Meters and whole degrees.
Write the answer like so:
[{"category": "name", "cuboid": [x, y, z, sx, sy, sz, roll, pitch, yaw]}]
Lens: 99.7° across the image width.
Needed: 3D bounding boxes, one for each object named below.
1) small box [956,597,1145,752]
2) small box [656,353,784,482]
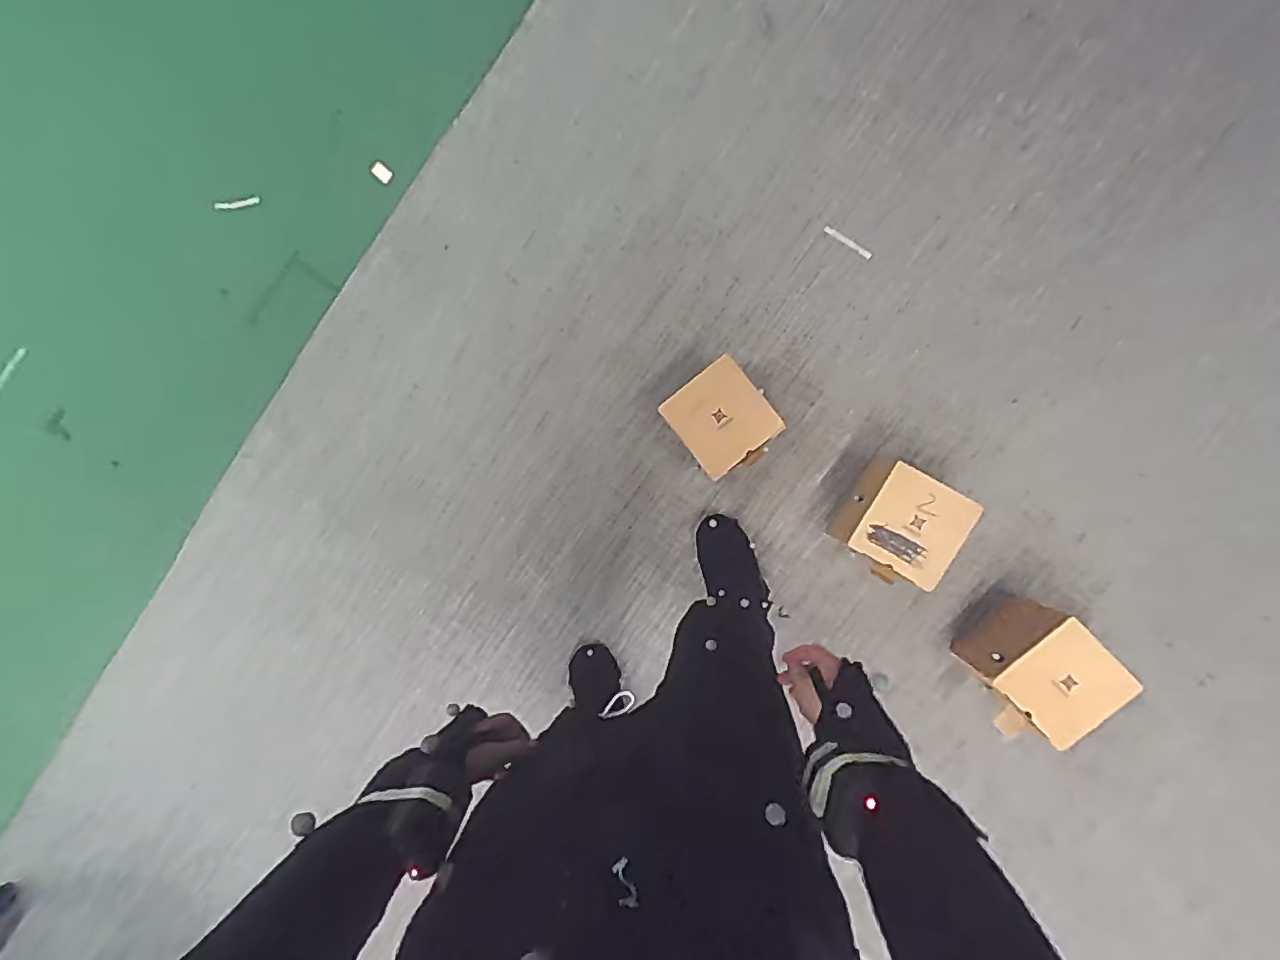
[{"category": "small box", "cuboid": [0.725, 0.338, 0.981, 0.179, 0.176, 0.168, -44, 86, 7]}, {"category": "small box", "cuboid": [0.153, -0.114, 1.047, 0.168, 0.176, 0.179, -39, 85, 5]}]
